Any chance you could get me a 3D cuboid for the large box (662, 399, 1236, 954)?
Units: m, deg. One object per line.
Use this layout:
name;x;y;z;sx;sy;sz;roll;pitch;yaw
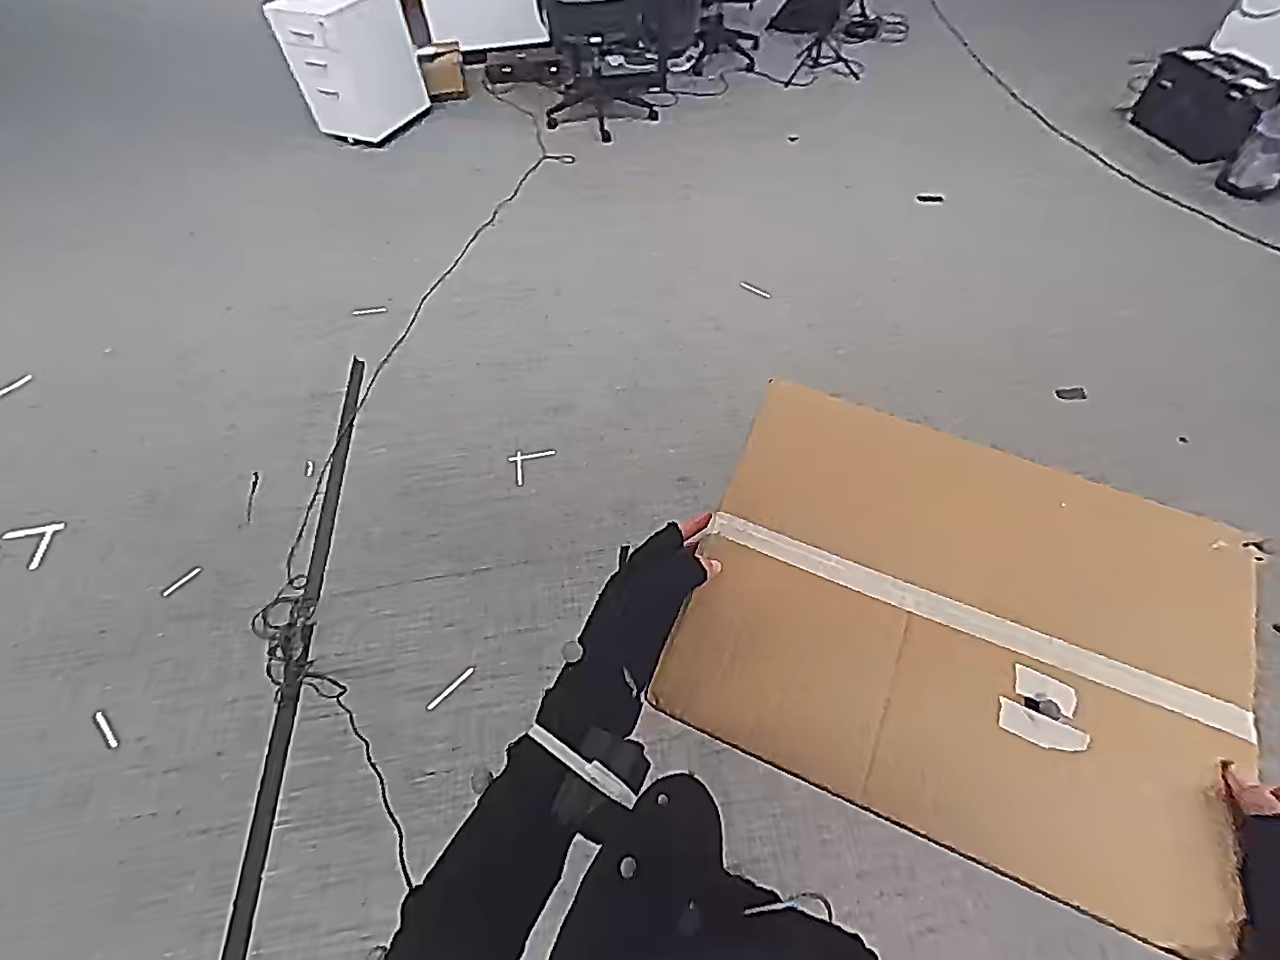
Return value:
large box;0.261;0.172;0.577;0.408;0.320;0.320;21;71;11
